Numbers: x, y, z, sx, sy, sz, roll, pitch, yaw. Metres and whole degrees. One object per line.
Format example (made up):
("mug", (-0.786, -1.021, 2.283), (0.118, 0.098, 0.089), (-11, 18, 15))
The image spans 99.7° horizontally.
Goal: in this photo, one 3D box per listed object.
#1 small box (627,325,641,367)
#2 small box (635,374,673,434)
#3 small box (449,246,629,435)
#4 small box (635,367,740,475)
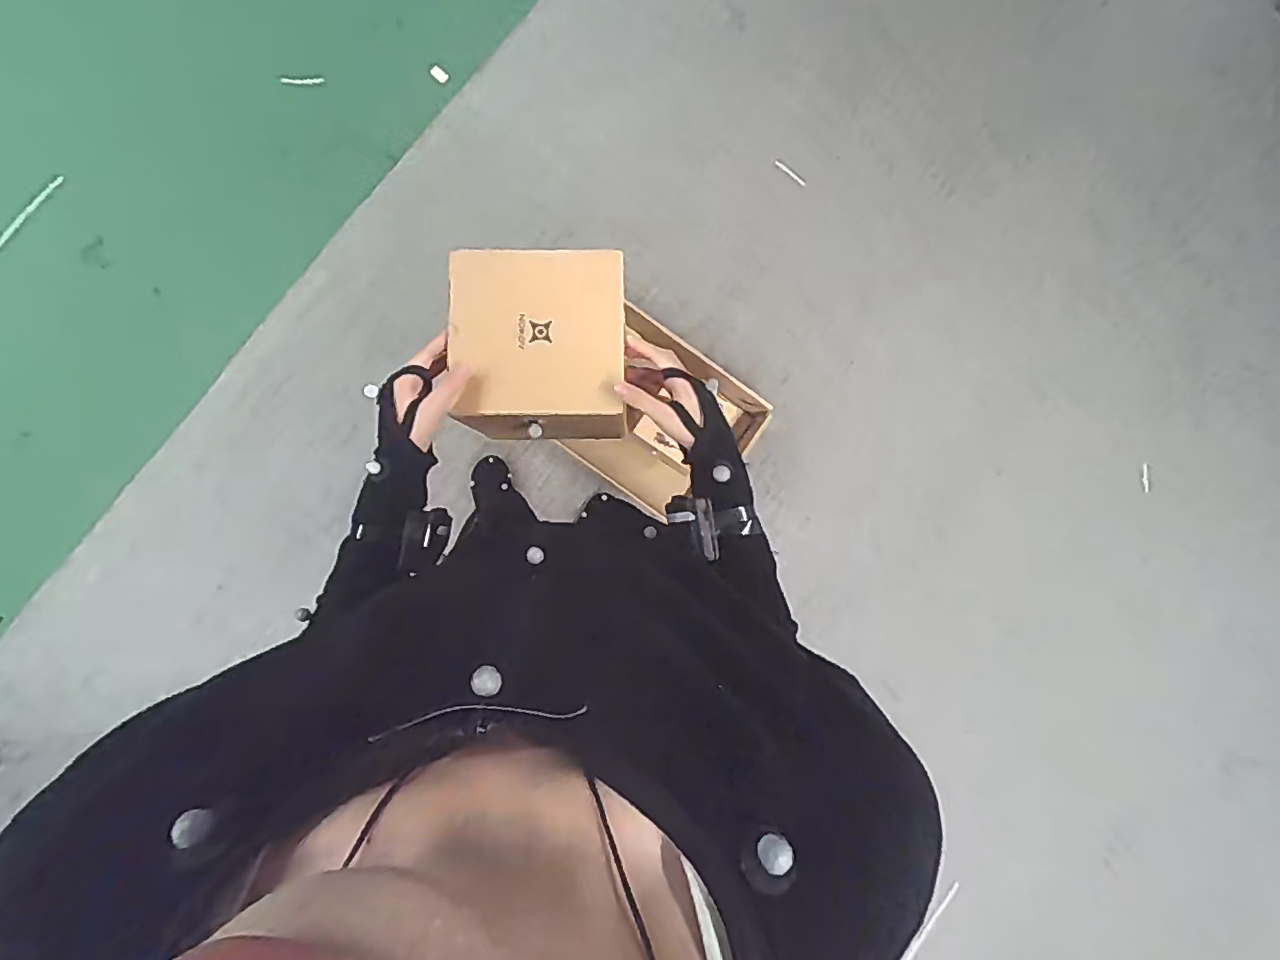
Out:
("small box", (-0.113, -0.289, 1.237), (0.168, 0.176, 0.179), (37, 88, -3))
("small box", (0.097, -0.148, 1.412), (0.179, 0.176, 0.168), (30, 88, -2))
("small box", (-0.101, -0.145, 0.609), (0.179, 0.176, 0.168), (-1, 86, 0))
("small box", (0.099, -0.128, 1.247), (0.168, 0.176, 0.179), (35, 87, -2))
